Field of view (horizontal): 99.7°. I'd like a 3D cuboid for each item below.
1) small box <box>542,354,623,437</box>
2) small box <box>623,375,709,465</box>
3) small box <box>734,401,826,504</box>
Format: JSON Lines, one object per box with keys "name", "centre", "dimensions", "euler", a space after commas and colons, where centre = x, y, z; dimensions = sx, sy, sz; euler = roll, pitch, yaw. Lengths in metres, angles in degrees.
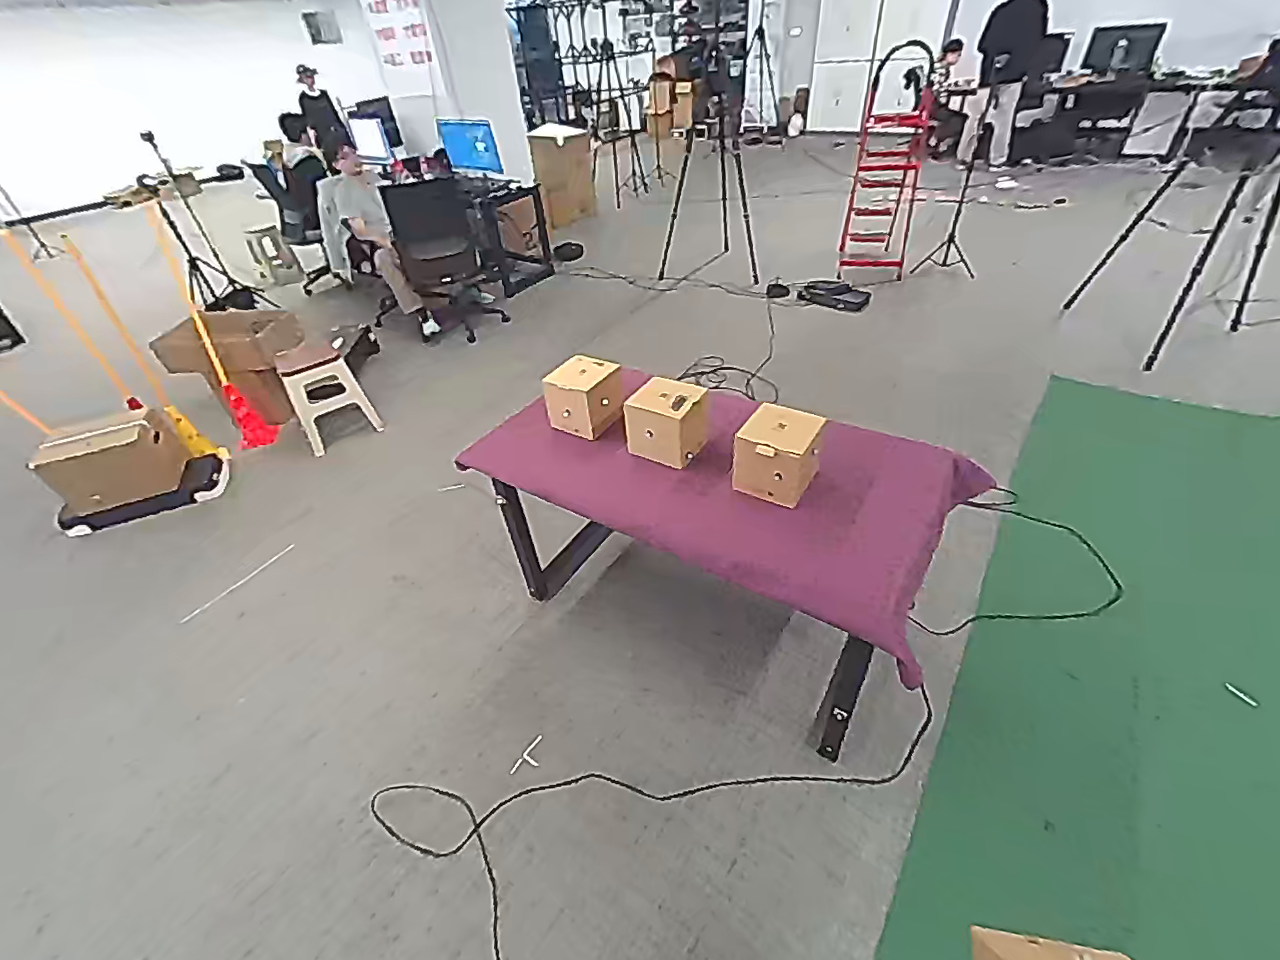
{"name": "small box", "centre": [-0.164, -0.253, 1.628], "dimensions": [0.168, 0.176, 0.179], "euler": [20, 47, 27]}
{"name": "small box", "centre": [0.078, -0.164, 1.492], "dimensions": [0.179, 0.176, 0.168], "euler": [19, 46, 28]}
{"name": "small box", "centre": [0.345, -0.067, 1.345], "dimensions": [0.168, 0.176, 0.179], "euler": [21, 47, 28]}
